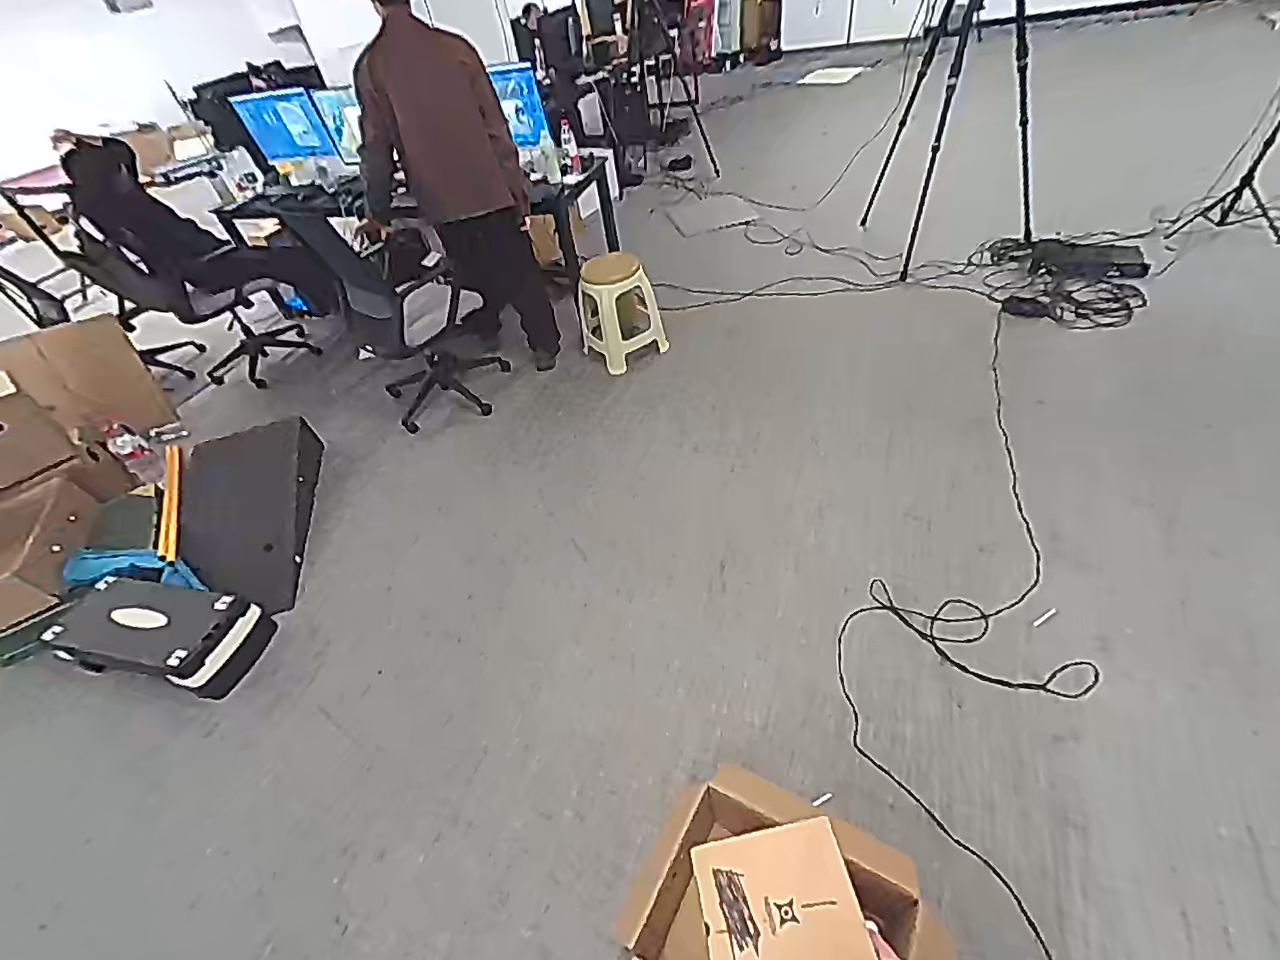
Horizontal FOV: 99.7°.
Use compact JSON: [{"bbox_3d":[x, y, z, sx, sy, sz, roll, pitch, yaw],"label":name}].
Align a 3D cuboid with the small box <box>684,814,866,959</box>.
[{"bbox_3d":[0.164,0.528,0.638,0.179,0.176,0.168,-15,38,8],"label":"small box"}]
